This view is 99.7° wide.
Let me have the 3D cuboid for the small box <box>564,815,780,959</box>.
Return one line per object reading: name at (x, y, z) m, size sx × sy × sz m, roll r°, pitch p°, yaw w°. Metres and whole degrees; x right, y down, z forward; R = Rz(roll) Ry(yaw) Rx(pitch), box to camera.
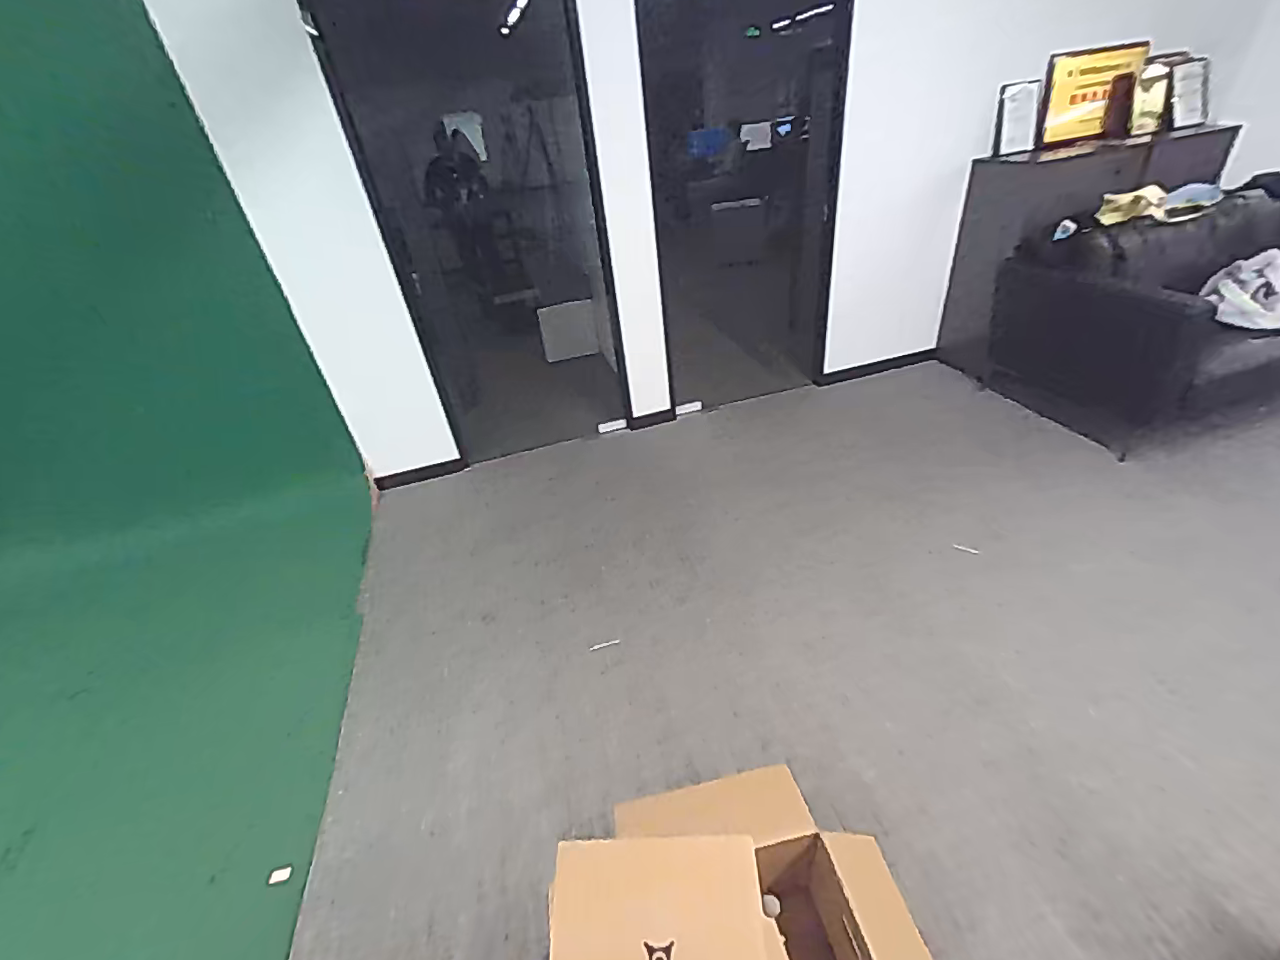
small box at (0.029, 0.410, 0.465) m, size 0.168 × 0.176 × 0.179 m, roll -4°, pitch 47°, yaw 3°
